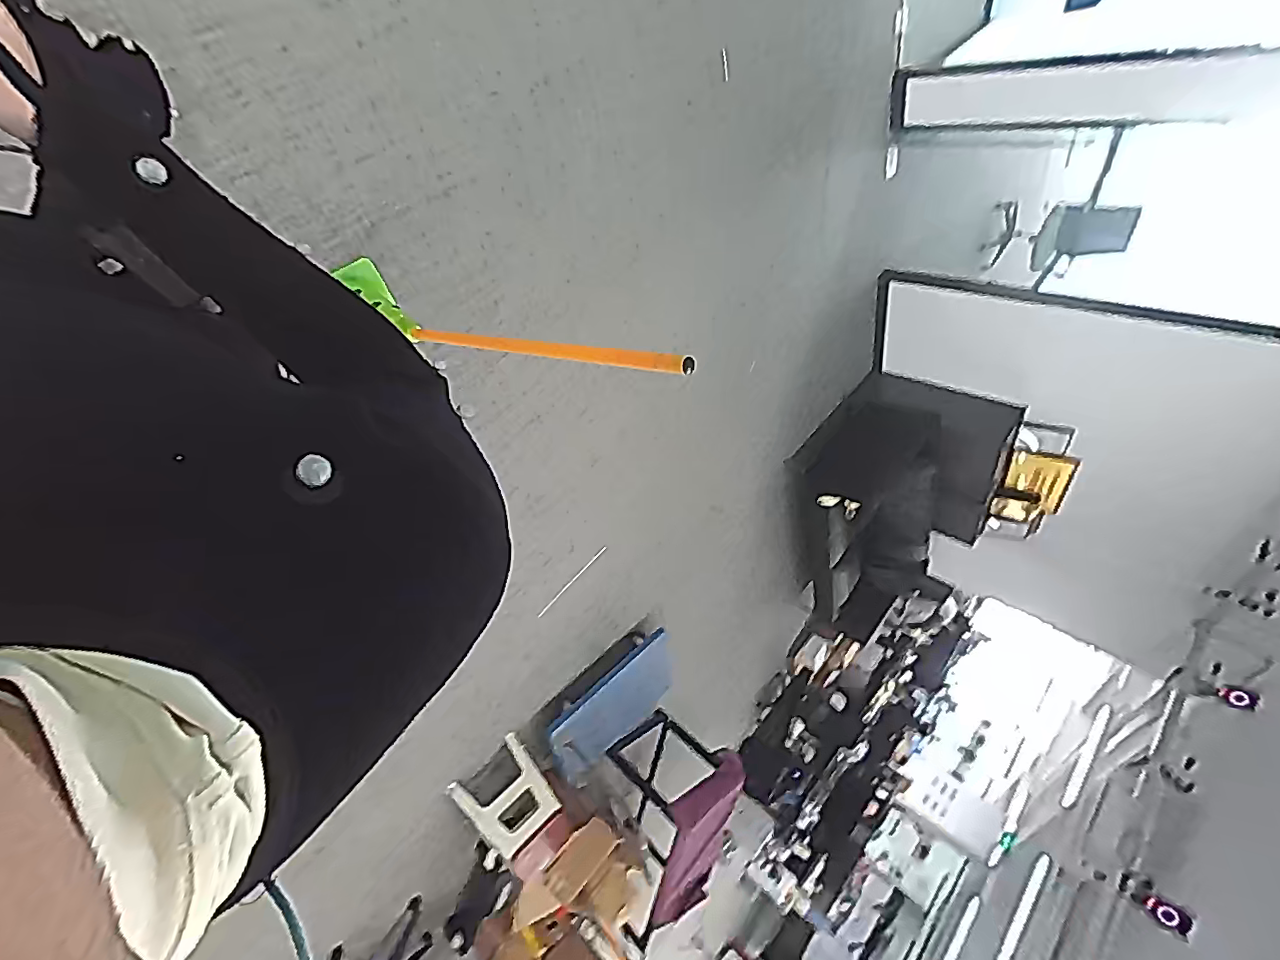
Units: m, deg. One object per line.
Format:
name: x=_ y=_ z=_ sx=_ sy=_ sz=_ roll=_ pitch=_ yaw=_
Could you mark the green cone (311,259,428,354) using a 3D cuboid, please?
green cone: x=-0.637 y=-0.407 z=1.371 sx=0.202 sy=0.368 sz=0.200 roll=-43 pitch=139 yaw=-22
